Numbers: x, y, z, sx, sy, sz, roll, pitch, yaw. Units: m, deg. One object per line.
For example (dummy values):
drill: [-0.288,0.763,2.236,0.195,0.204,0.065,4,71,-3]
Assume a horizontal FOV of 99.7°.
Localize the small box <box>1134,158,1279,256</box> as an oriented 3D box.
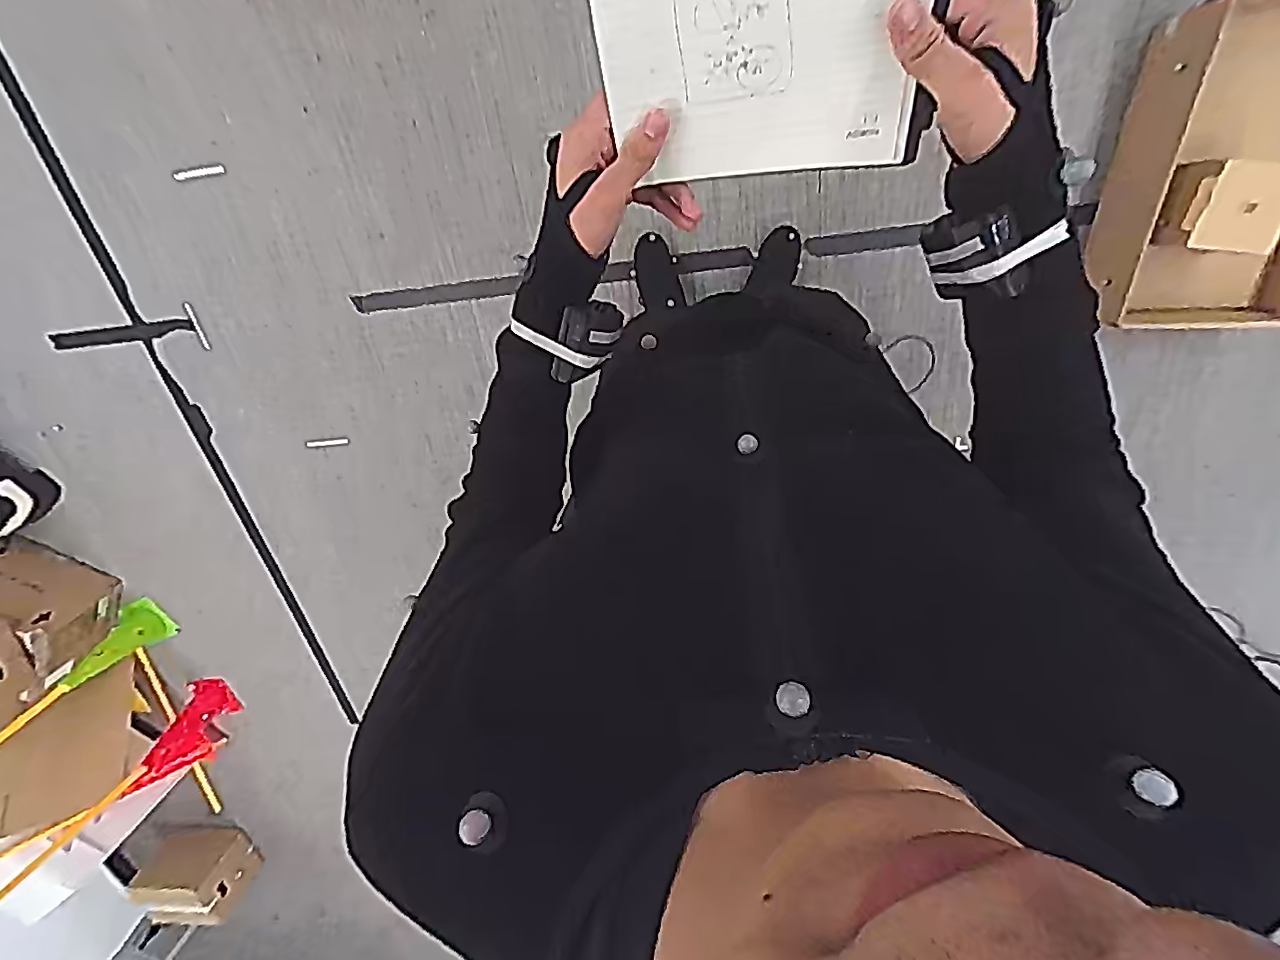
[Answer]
small box: [1.246,-0.586,1.172,0.179,0.176,0.168,8,117,3]
